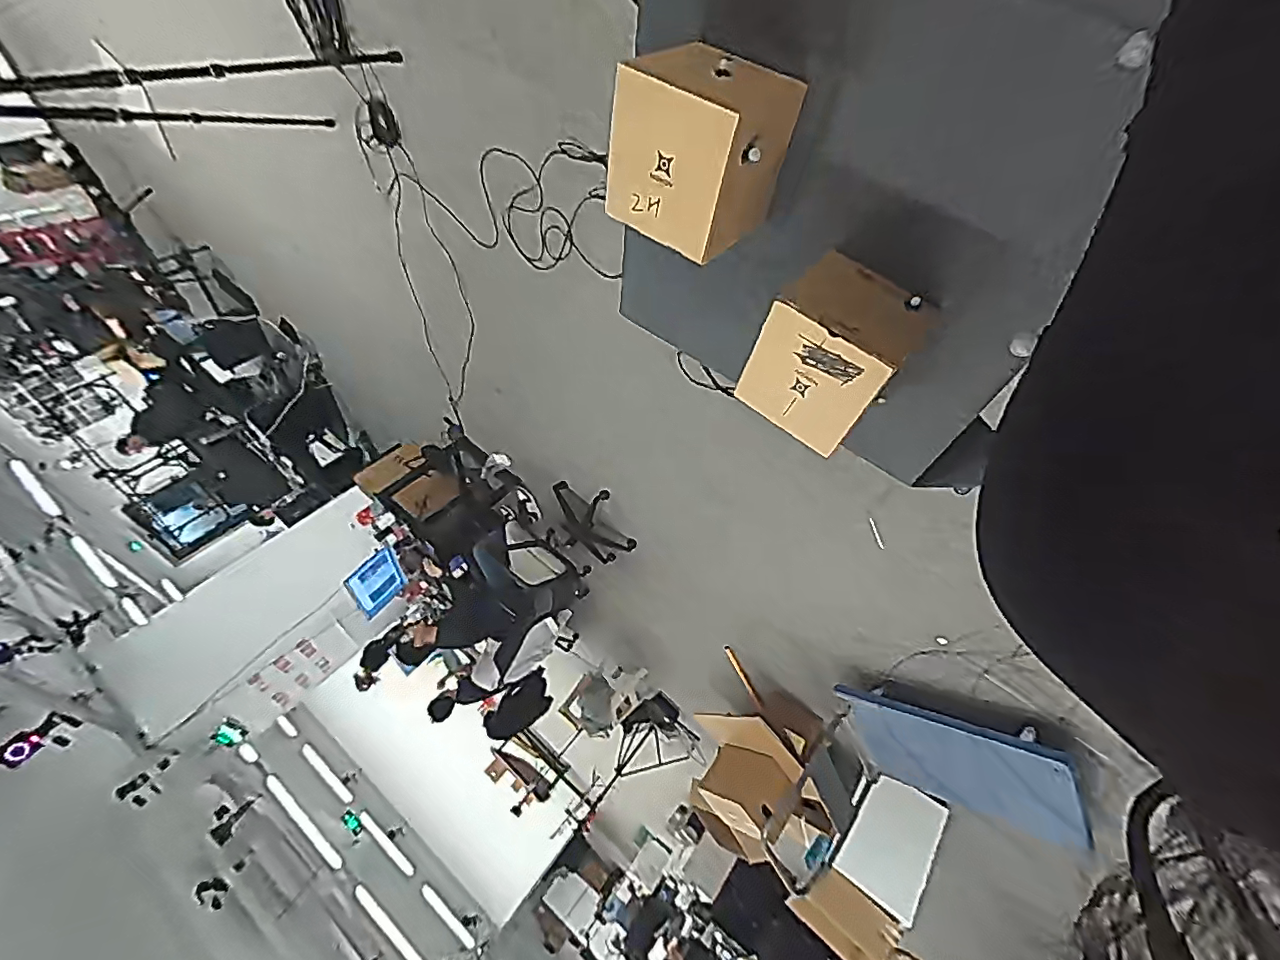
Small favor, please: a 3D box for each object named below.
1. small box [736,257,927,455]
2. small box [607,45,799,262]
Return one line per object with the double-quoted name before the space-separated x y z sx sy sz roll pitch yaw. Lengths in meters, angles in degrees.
"small box" 0.266 -0.176 0.752 0.168 0.176 0.179 38 147 14
"small box" 0.080 -0.423 0.694 0.168 0.176 0.179 35 146 16
